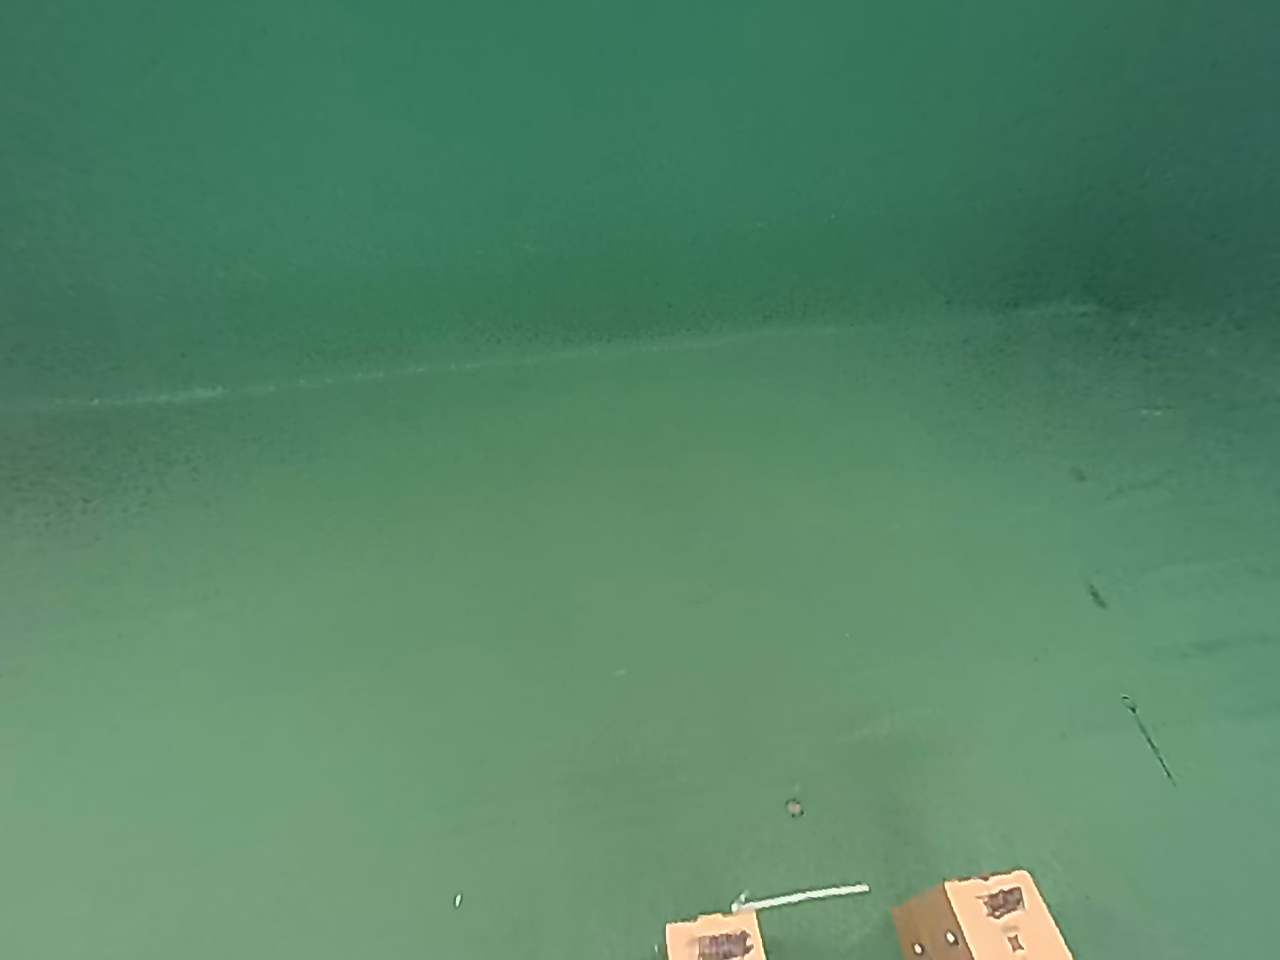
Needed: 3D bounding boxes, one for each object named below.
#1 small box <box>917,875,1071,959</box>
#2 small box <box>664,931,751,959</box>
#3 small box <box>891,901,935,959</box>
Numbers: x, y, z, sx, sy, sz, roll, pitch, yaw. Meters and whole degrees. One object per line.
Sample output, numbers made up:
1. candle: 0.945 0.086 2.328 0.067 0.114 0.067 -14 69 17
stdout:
1. small box: 0.639 0.848 0.978 0.168 0.176 0.179 -6 44 -4
2. small box: 0.141 1.018 1.058 0.168 0.176 0.179 -7 43 -4
3. small box: 0.640 0.967 1.092 0.168 0.176 0.179 -5 44 -4
